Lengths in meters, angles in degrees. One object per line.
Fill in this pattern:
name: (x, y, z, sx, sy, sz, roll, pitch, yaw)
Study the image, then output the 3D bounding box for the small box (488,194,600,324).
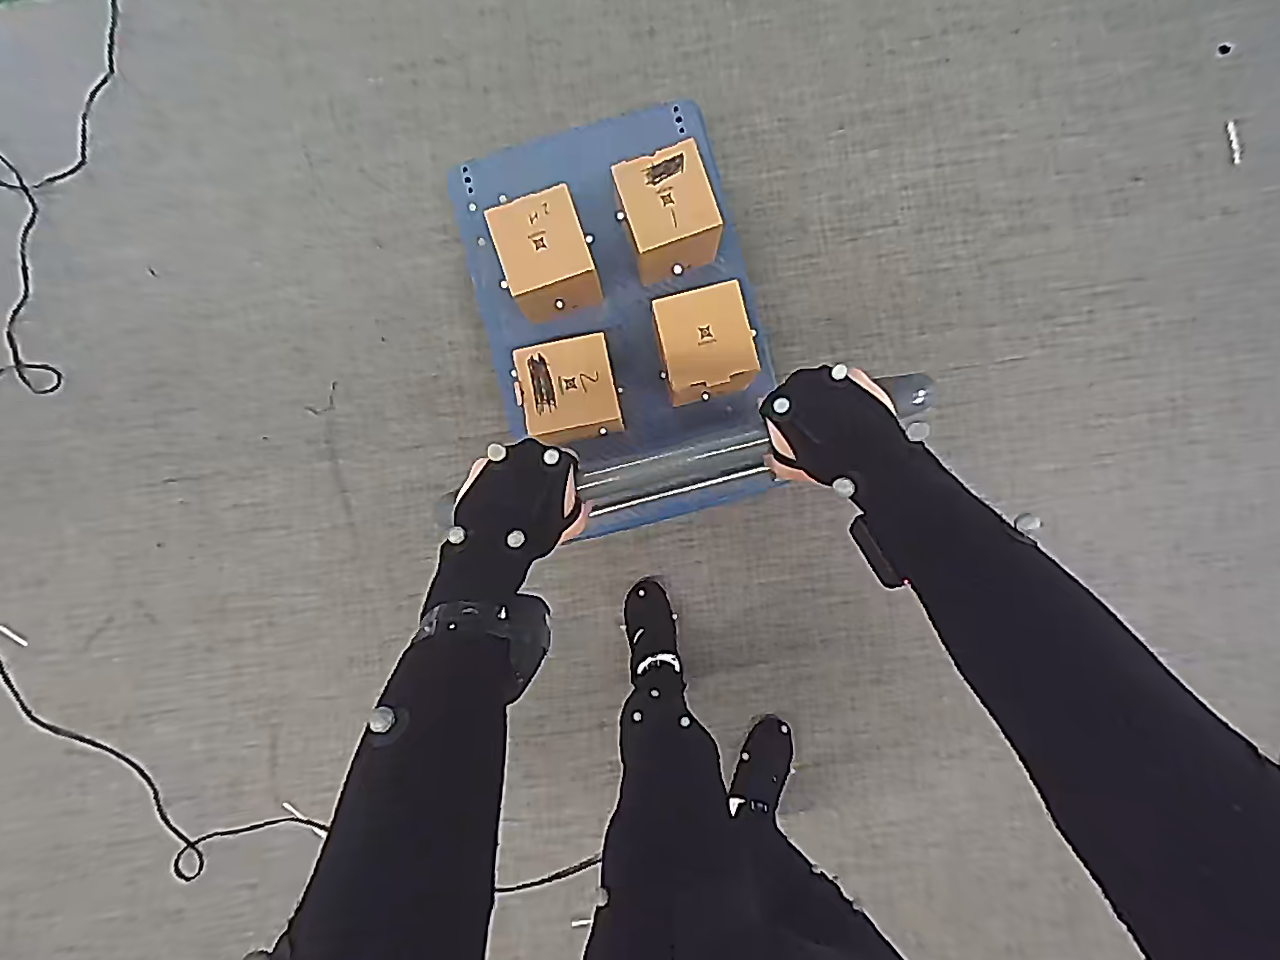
small box: (-0.187, -0.438, 1.110, 0.168, 0.176, 0.179, -19, 88, 0)

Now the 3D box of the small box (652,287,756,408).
small box: (0.121, -0.260, 1.096, 0.168, 0.176, 0.179, -14, 88, 1)

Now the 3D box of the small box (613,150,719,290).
small box: (0.050, -0.521, 1.106, 0.168, 0.176, 0.179, -19, 89, 2)
